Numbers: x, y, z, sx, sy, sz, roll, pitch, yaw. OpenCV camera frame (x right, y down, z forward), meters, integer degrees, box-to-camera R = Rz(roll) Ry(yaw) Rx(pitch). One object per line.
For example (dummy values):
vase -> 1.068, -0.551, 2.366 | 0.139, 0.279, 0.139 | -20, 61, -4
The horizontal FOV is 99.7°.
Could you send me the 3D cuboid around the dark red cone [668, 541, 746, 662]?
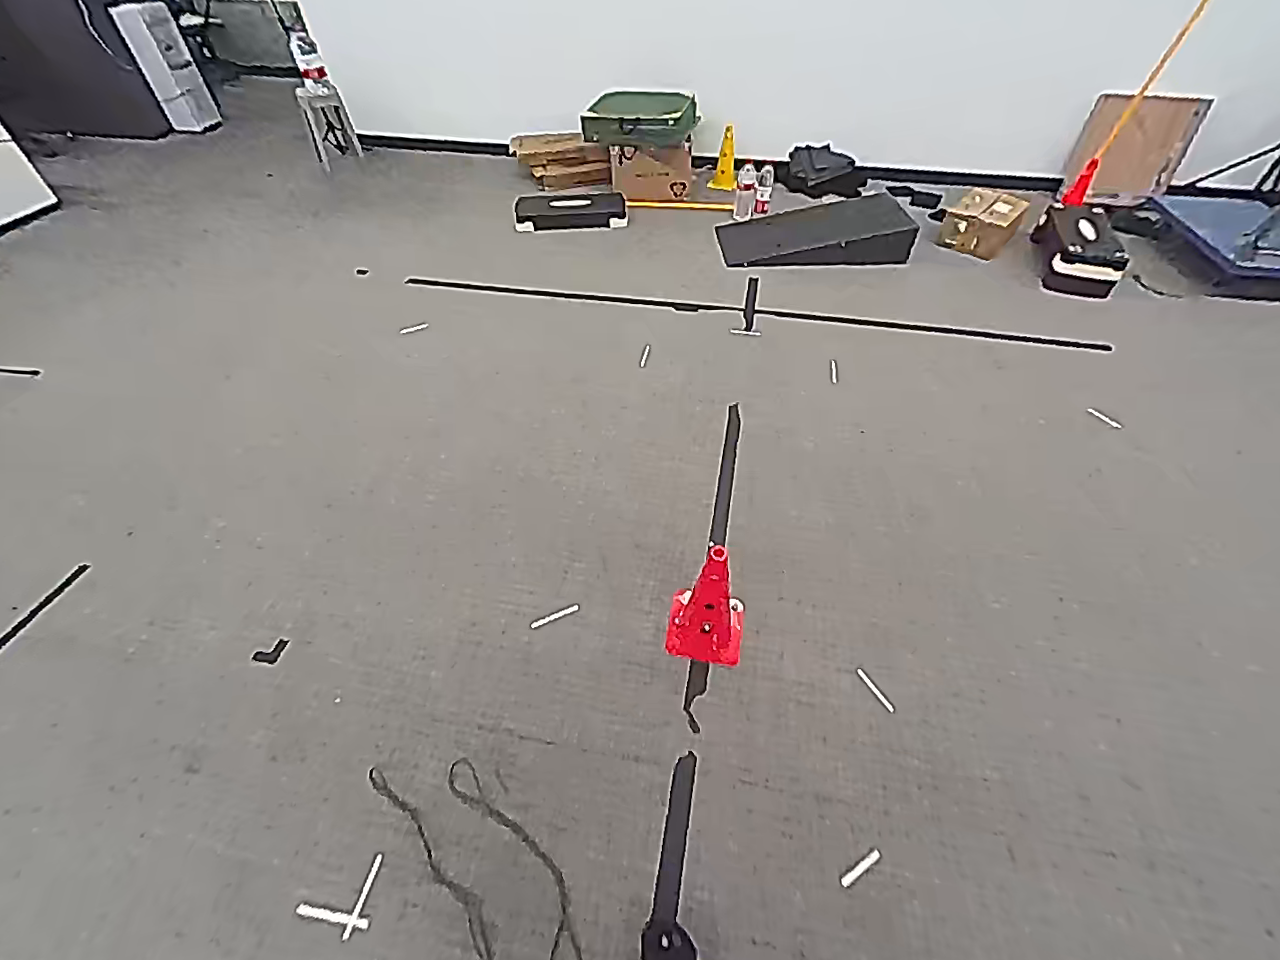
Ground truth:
dark red cone -> 0.180, 0.276, 1.336 | 0.201, 0.394, 0.202 | 7, 48, 8
